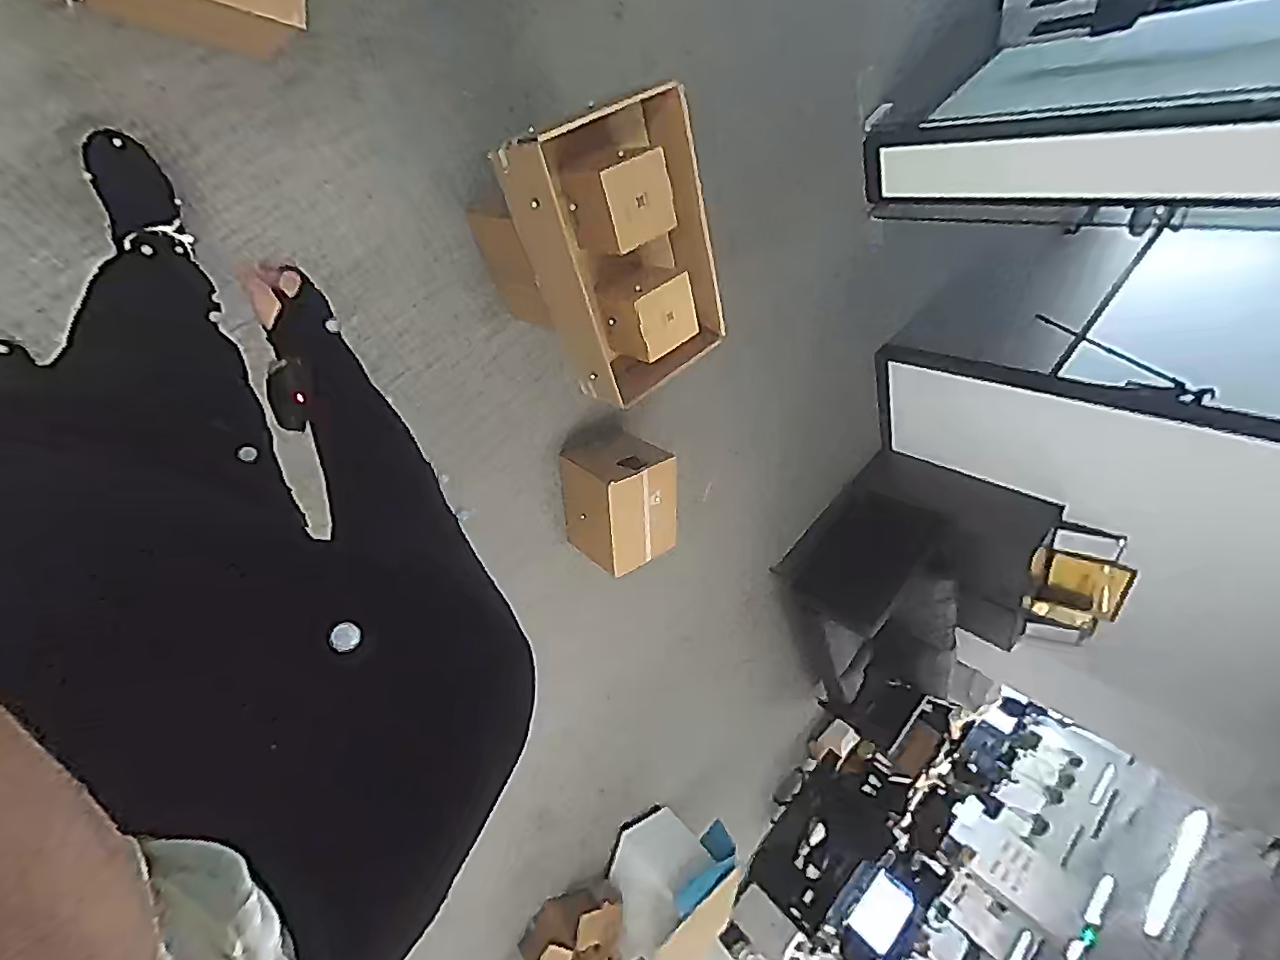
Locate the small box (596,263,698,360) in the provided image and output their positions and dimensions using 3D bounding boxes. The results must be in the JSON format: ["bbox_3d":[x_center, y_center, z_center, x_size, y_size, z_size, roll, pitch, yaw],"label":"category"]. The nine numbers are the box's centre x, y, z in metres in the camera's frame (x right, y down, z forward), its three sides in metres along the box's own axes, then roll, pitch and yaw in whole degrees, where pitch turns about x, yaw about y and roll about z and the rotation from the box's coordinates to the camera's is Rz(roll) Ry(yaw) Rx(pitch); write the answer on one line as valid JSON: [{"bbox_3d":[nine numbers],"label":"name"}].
[{"bbox_3d":[0.018,-0.435,1.375,0.179,0.176,0.168,-37,133,-22],"label":"small box"}]

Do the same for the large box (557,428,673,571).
[{"bbox_3d":[-0.091,0.064,2.068,0.320,0.320,0.408,-25,126,-34],"label":"large box"}]
